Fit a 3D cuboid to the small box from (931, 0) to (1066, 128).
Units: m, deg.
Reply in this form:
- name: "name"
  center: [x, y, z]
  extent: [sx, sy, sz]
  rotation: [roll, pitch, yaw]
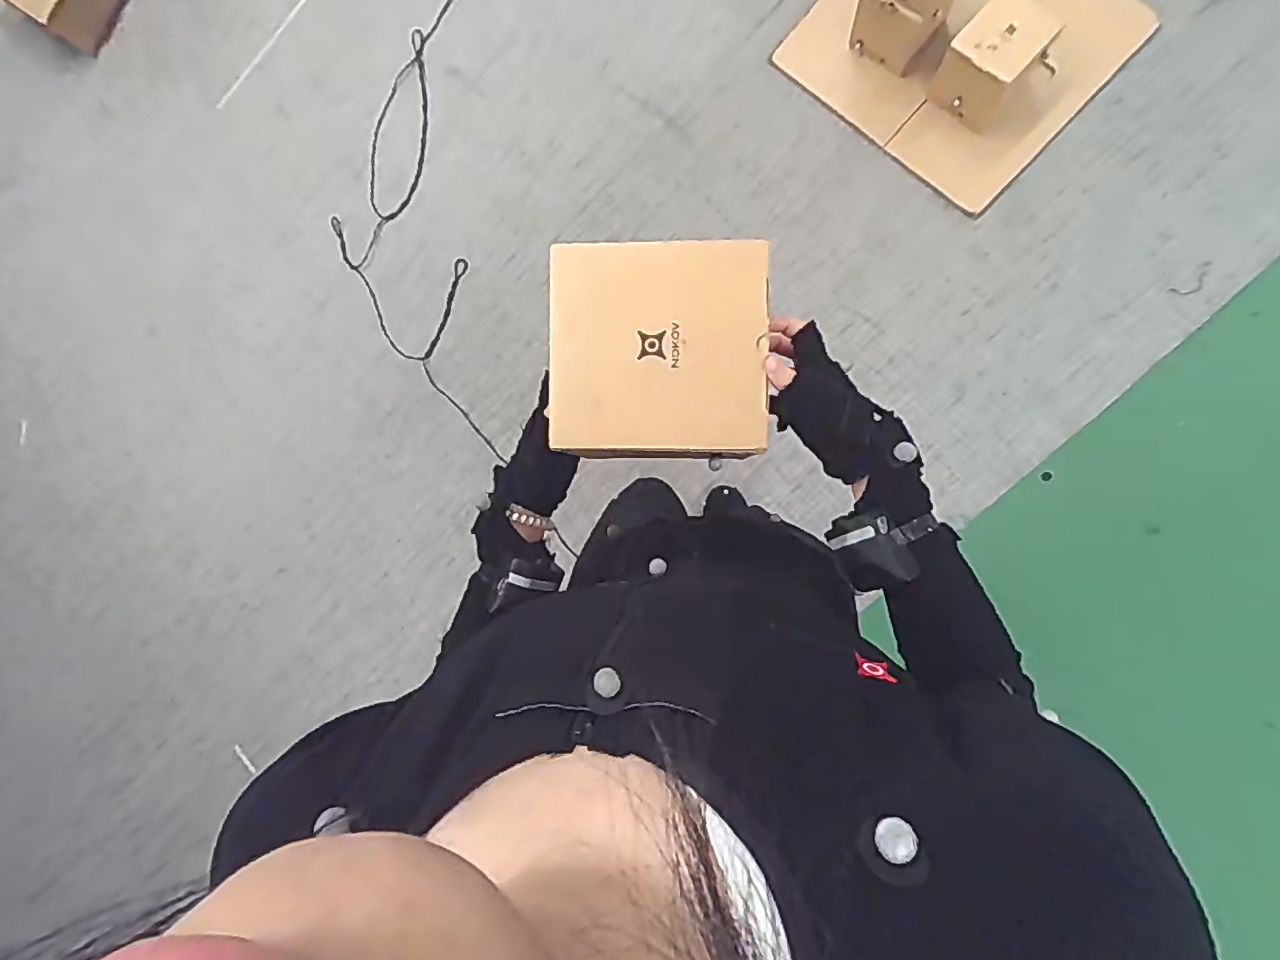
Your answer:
- name: "small box"
  center: [0.825, -0.988, 1.268]
  extent: [0.168, 0.176, 0.179]
  rotation: [44, 97, 10]

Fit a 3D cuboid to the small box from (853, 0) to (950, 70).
- name: "small box"
  center: [0.639, -1.154, 1.304]
  extent: [0.168, 0.176, 0.179]
  rotation: [40, 96, 9]

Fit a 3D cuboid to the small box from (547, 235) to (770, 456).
- name: "small box"
  center: [0.019, -0.109, 0.504]
  extent: [0.179, 0.176, 0.168]
  rotation: [0, 90, 4]
